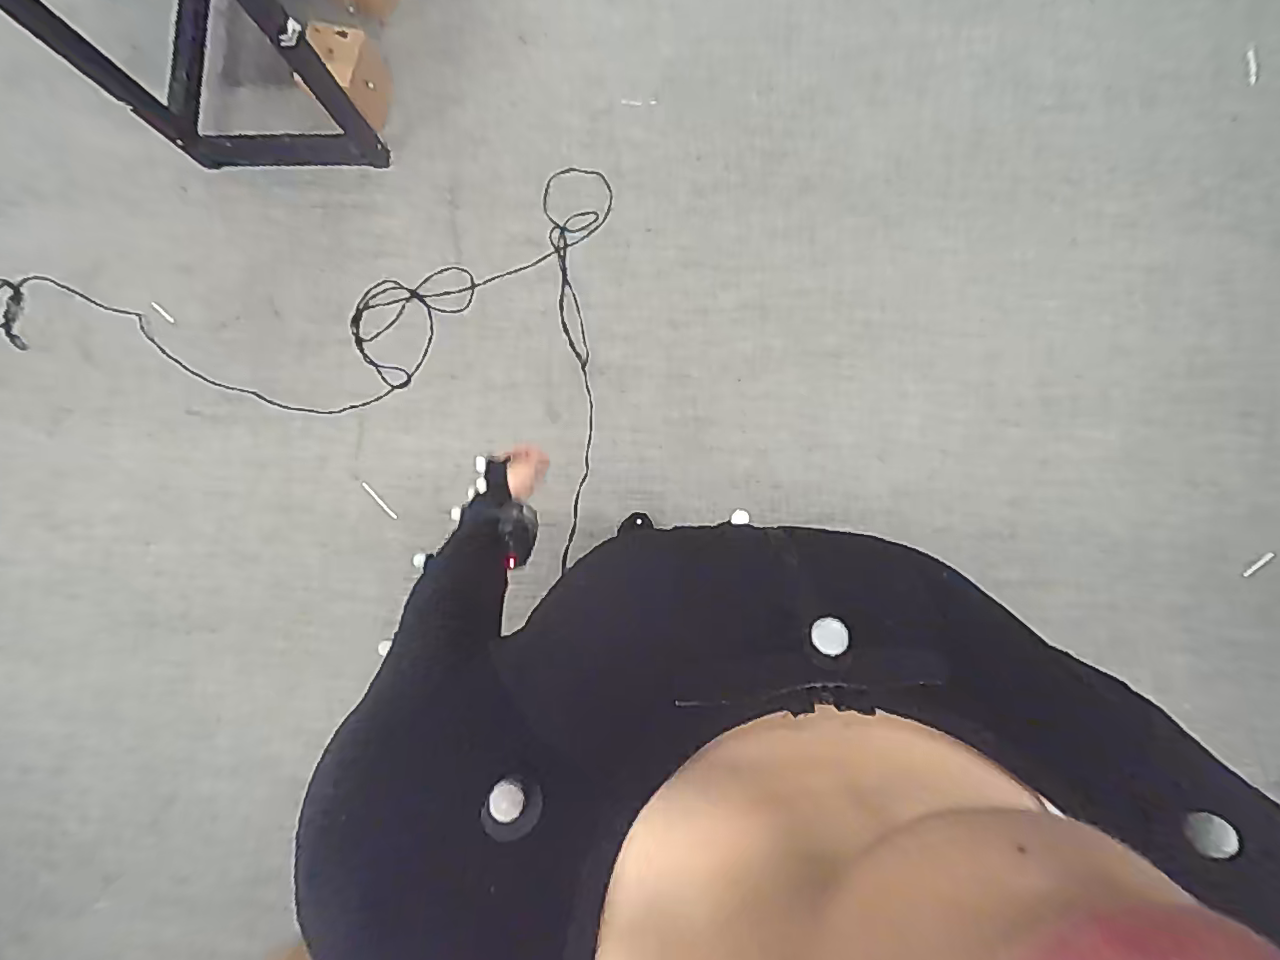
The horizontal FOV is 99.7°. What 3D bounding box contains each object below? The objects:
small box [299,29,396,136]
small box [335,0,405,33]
[{"bbox_3d":[-0.840,-1.143,1.569,0.168,0.176,0.179,13,87,3],"label":"small box"},{"bbox_3d":[-0.816,-1.488,1.595,0.168,0.176,0.179,22,88,5],"label":"small box"}]
